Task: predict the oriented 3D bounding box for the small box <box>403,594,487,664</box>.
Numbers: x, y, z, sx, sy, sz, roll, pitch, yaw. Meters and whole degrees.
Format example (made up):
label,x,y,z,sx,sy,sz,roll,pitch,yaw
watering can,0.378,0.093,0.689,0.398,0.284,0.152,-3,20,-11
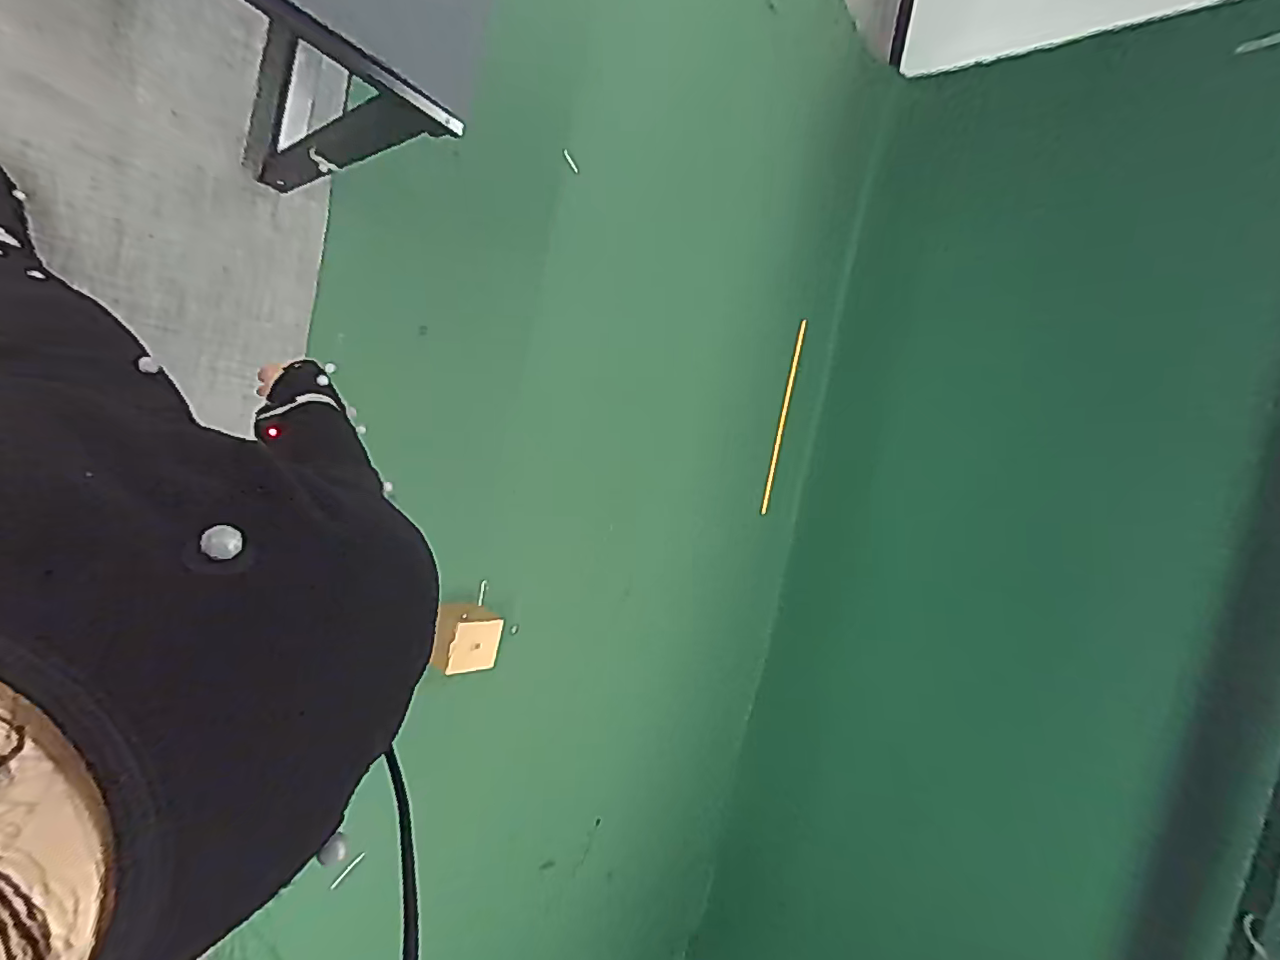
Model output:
label,x,y,z,sx,sy,sz,roll,pitch,yaw
small box,-0.634,0.476,1.755,0.179,0.176,0.168,12,93,-52
